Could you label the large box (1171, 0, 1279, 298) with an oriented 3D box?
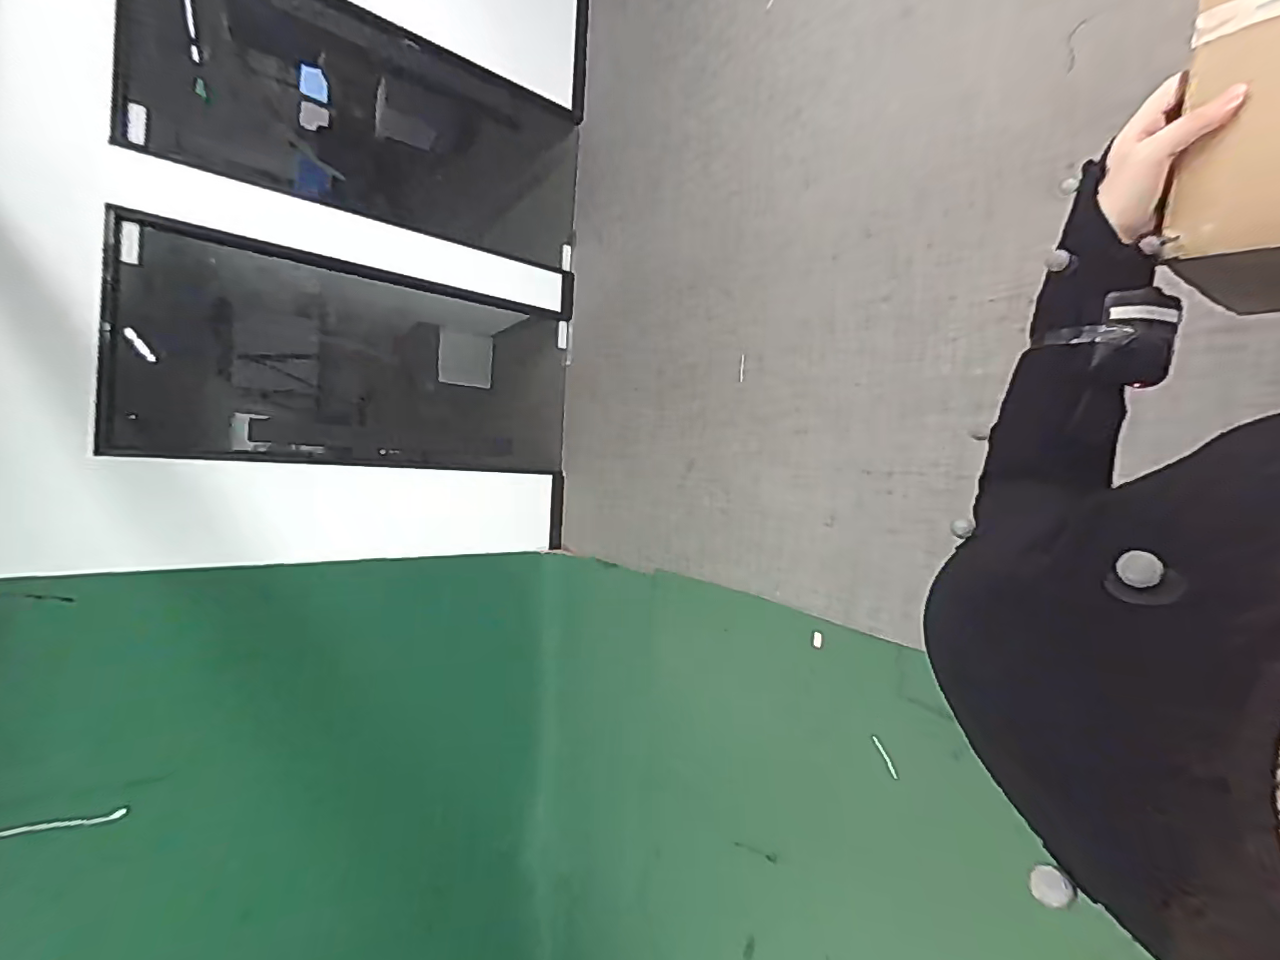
[{"bbox_3d":[0.646,-0.307,0.314,0.408,0.320,0.320,14,104,56],"label":"large box"}]
